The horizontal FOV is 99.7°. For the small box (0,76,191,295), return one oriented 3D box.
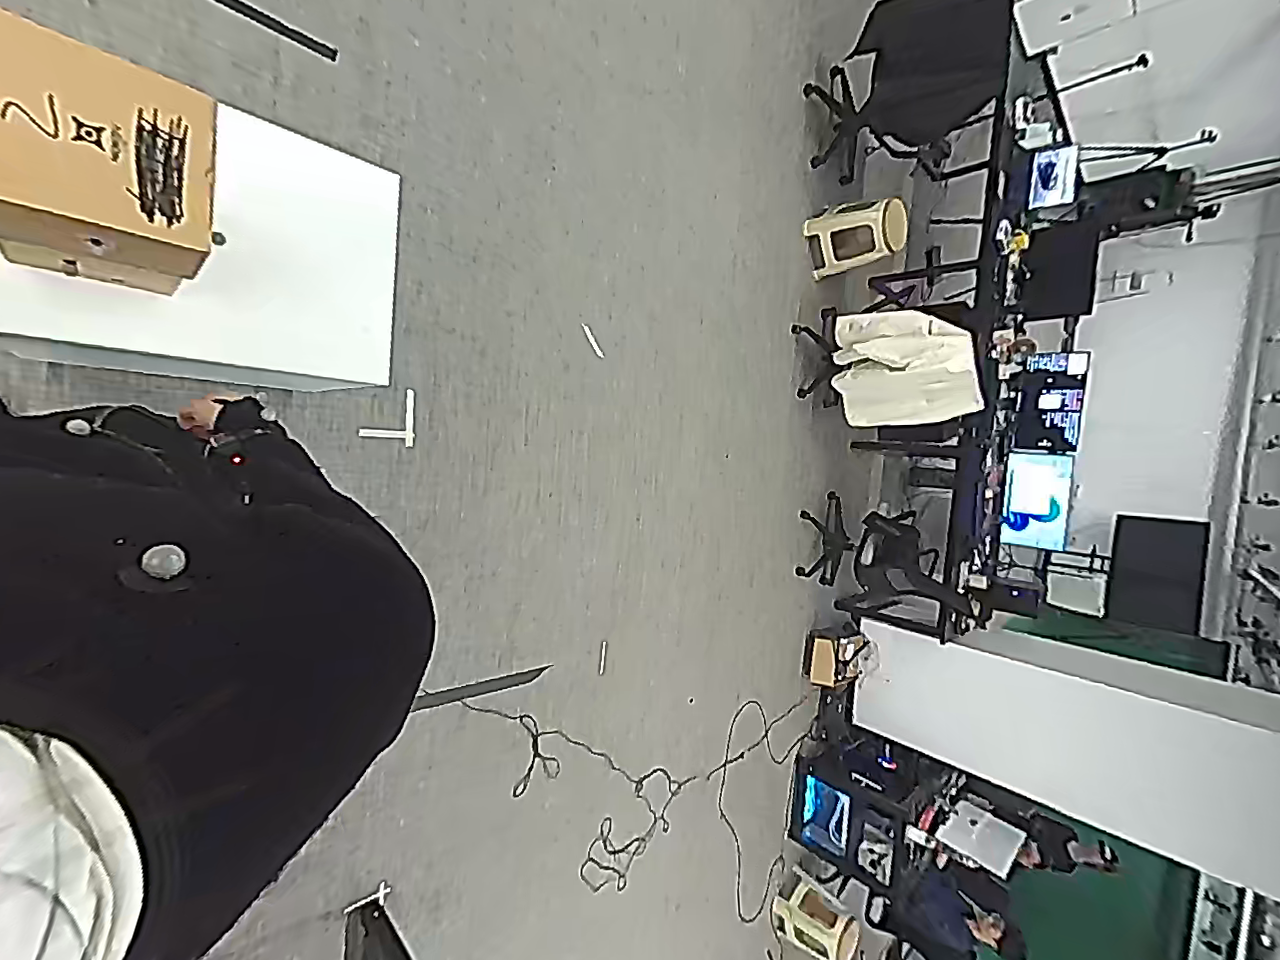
[{"bbox_3d":[-0.694,-0.351,0.692,0.168,0.176,0.179,2,93,-46],"label":"small box"}]
